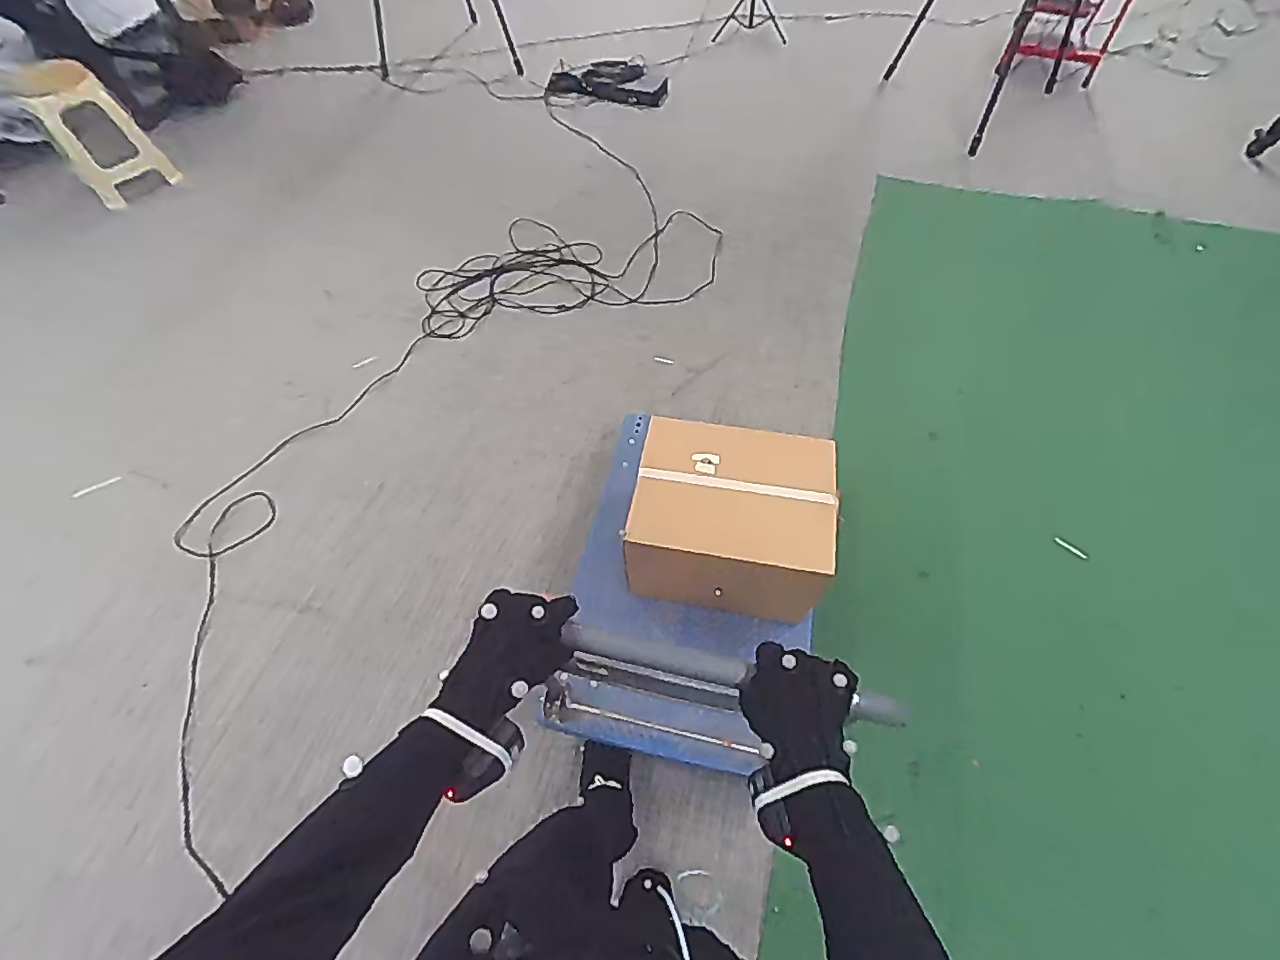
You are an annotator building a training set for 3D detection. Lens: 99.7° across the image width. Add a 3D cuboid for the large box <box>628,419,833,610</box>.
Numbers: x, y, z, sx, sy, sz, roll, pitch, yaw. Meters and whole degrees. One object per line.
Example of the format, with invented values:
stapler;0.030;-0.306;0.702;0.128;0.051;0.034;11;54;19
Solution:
large box;0.203;0.087;1.247;0.408;0.320;0.320;7;59;8
